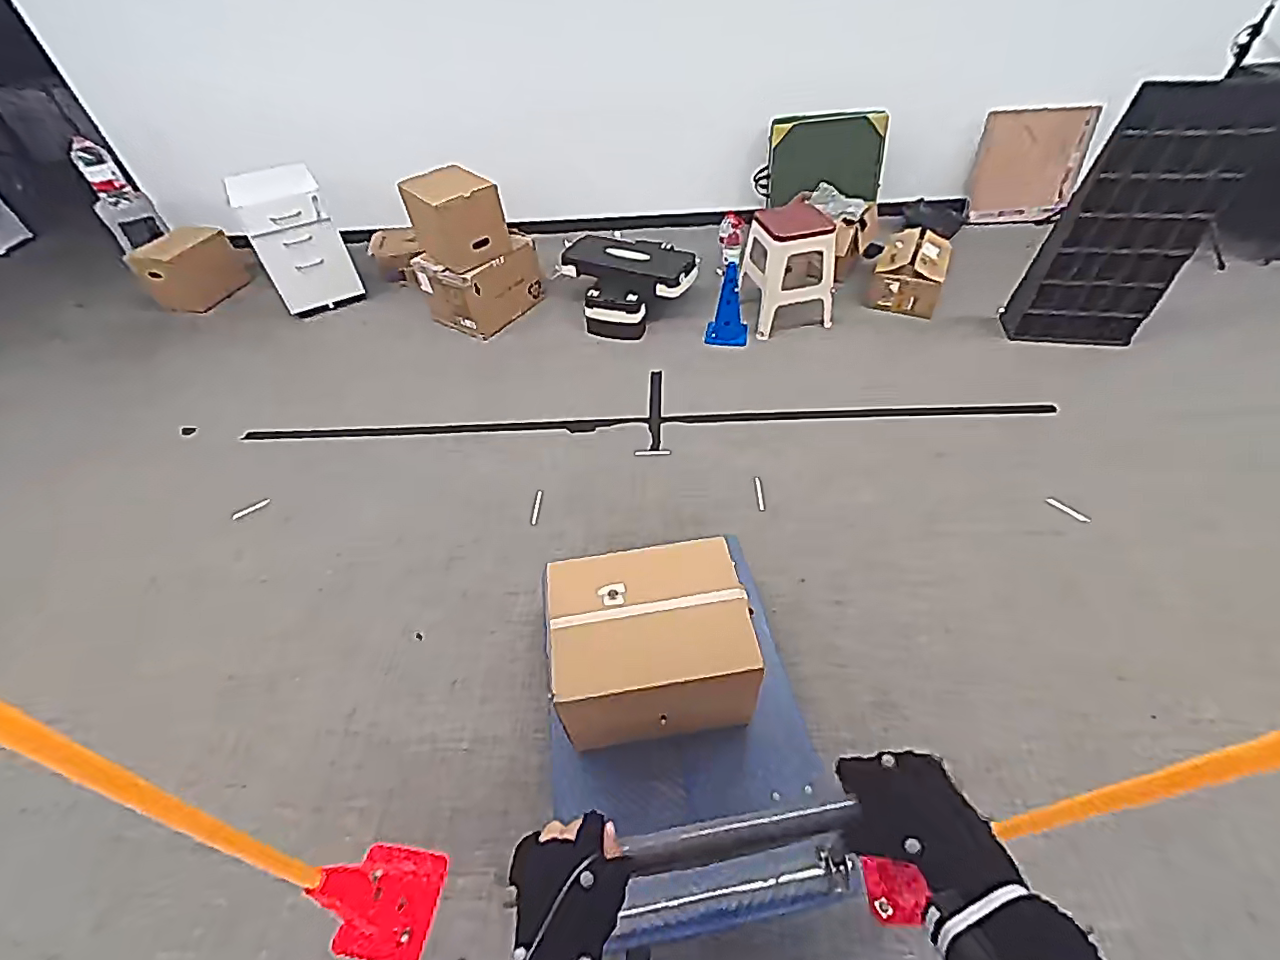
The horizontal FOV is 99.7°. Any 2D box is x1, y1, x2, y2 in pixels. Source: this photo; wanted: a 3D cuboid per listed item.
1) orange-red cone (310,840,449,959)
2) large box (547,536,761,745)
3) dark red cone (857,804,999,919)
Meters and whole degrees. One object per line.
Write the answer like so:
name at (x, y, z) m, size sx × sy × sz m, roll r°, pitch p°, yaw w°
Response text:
orange-red cone at (-0.549, 0.801, 1.065) m, size 0.198 × 0.360 × 0.199 m, roll 5°, pitch 46°, yaw 8°
large box at (0.024, 0.367, 1.225) m, size 0.408 × 0.320 × 0.320 m, roll -9°, pitch 48°, yaw -3°
dark red cone at (0.581, 0.705, 1.043) m, size 0.201 × 0.394 × 0.202 m, roll 0°, pitch 48°, yaw 2°
